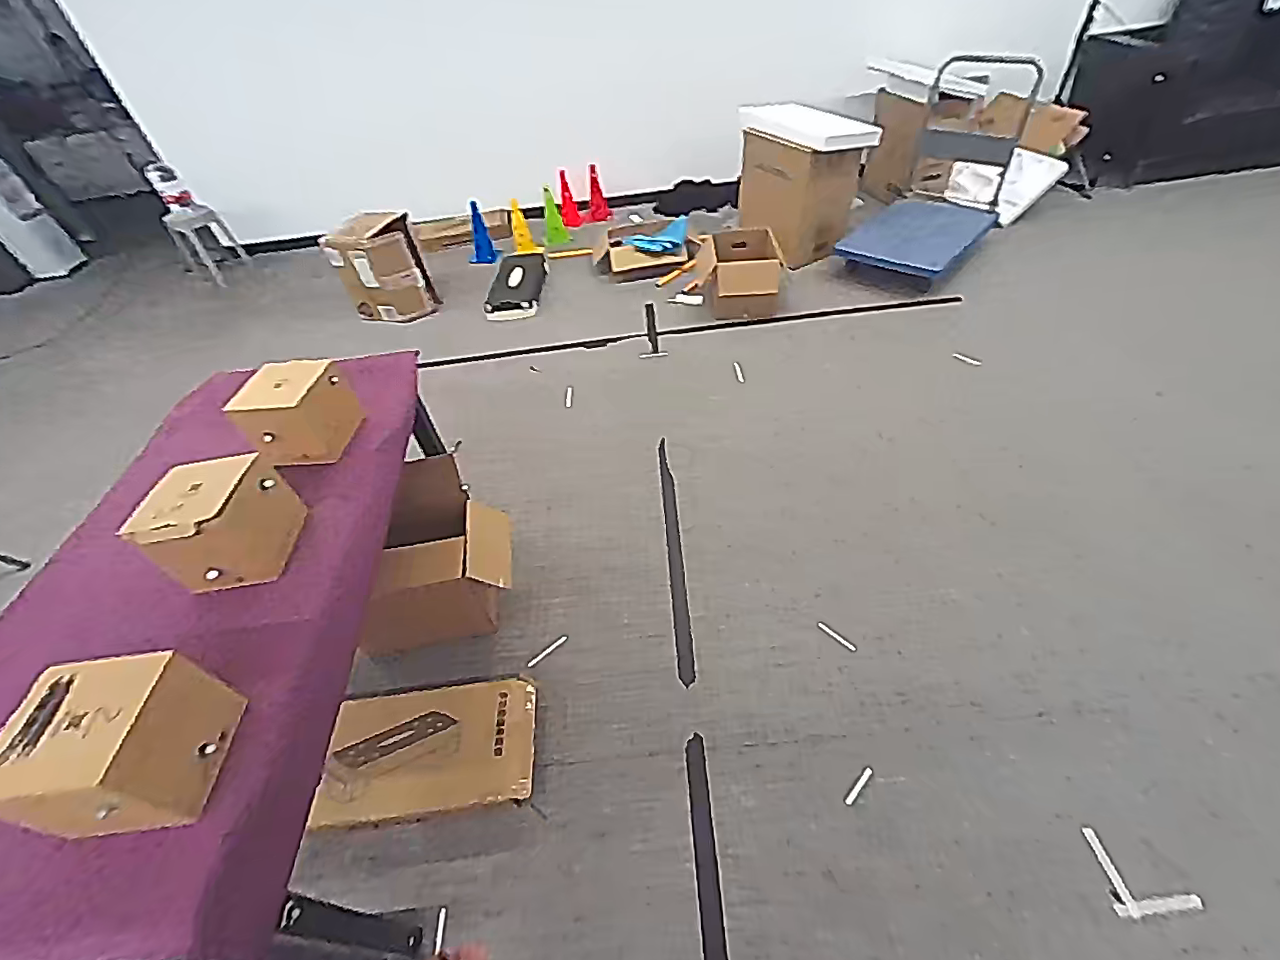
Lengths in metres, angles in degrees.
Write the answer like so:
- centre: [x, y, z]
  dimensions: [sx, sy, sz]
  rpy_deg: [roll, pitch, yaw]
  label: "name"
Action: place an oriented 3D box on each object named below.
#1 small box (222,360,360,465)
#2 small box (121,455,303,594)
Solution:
- centre: [-0.766, -0.144, 1.213]
  dimensions: [0.168, 0.176, 0.179]
  rpy_deg: [-3, 45, 5]
  label: "small box"
- centre: [-0.760, 0.082, 0.989]
  dimensions: [0.168, 0.176, 0.179]
  rpy_deg: [-10, 45, 2]
  label: "small box"
